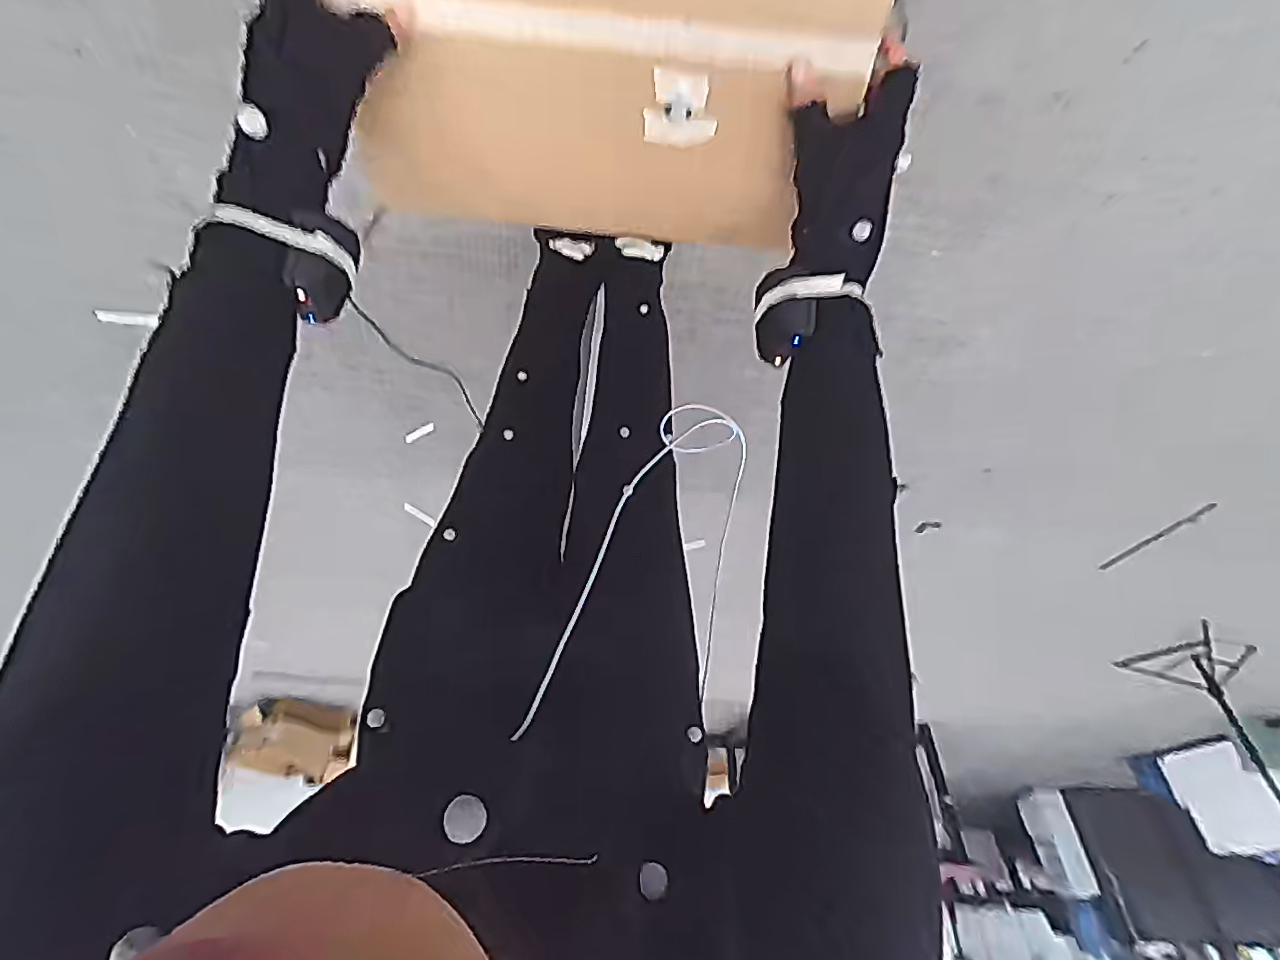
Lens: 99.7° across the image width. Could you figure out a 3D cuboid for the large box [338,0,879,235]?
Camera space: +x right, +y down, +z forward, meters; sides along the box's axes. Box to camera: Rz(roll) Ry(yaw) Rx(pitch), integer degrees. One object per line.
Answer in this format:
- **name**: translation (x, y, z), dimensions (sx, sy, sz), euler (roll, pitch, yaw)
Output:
- **large box**: translation (-0.020, -0.463, 0.489), dimensions (0.408, 0.320, 0.320), euler (6, 144, -1)
